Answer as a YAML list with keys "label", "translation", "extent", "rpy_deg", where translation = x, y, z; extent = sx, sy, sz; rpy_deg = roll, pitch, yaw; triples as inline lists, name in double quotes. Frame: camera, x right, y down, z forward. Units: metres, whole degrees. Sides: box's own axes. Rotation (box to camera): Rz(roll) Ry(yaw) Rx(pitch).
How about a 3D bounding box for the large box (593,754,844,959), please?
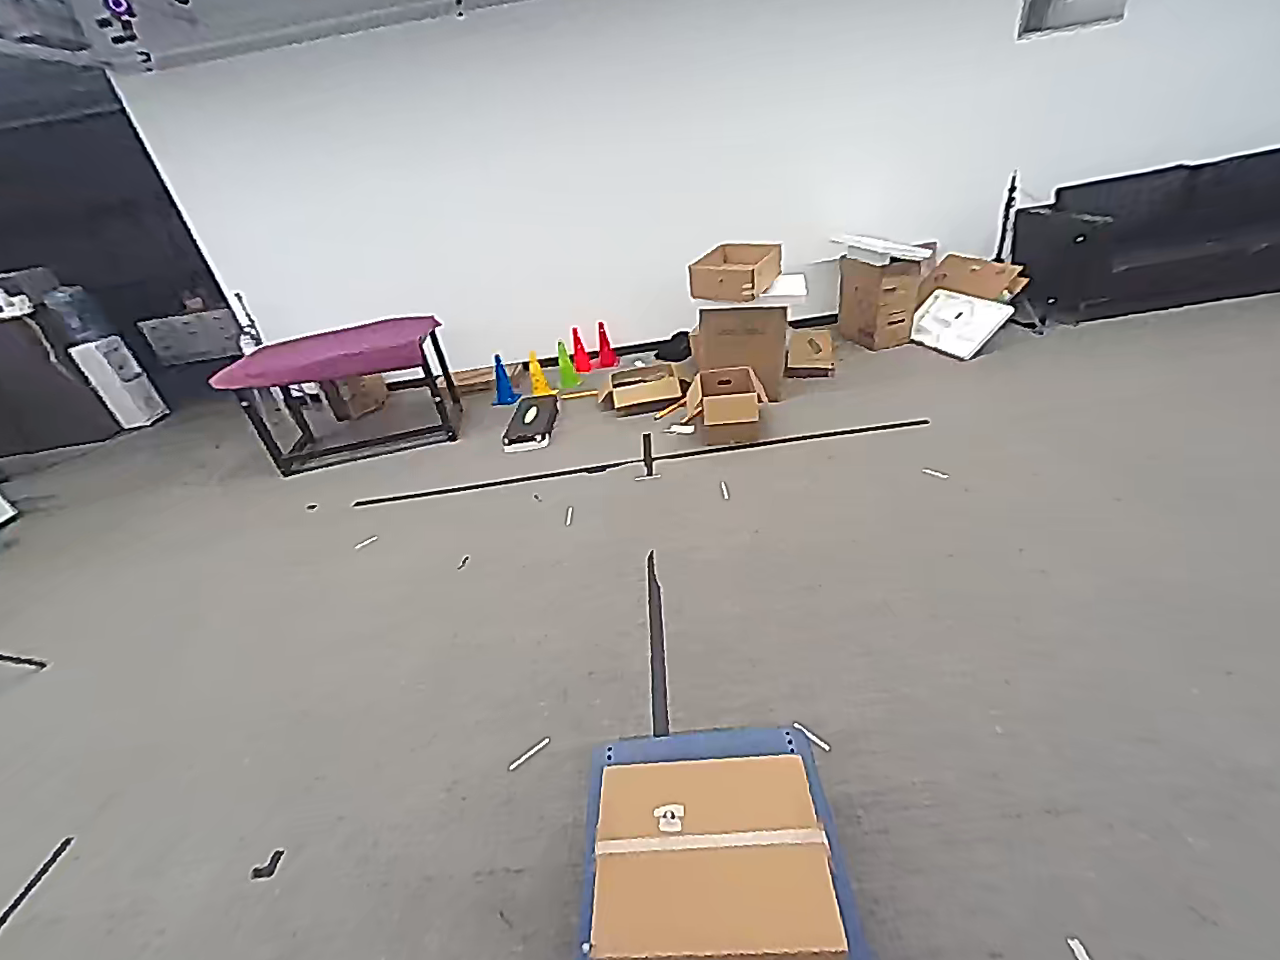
- label: "large box"
  translation: [0.146, 0.783, 1.053]
  extent: [0.408, 0.320, 0.320]
  rpy_deg: [-8, 30, 6]
